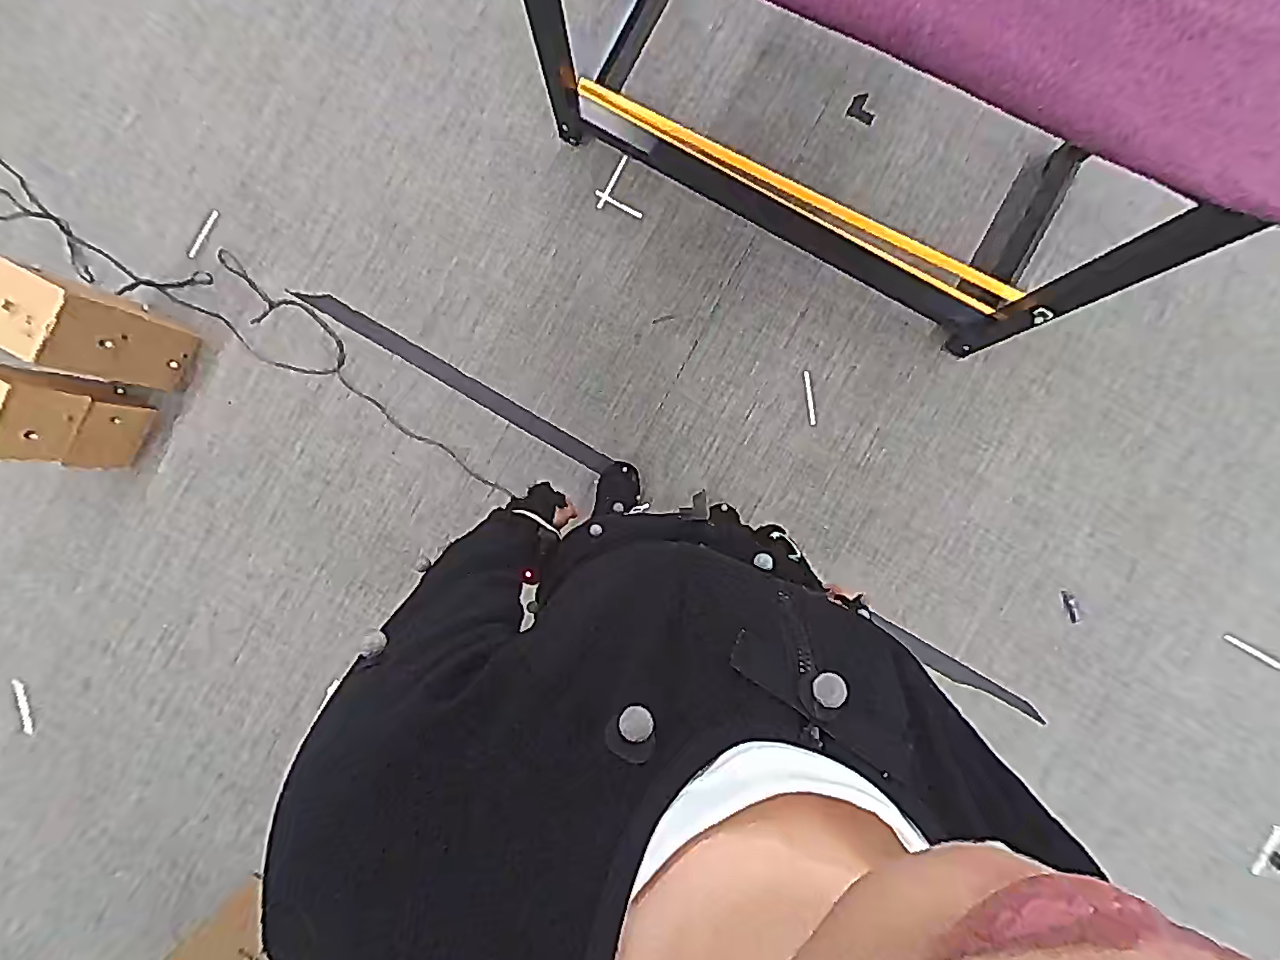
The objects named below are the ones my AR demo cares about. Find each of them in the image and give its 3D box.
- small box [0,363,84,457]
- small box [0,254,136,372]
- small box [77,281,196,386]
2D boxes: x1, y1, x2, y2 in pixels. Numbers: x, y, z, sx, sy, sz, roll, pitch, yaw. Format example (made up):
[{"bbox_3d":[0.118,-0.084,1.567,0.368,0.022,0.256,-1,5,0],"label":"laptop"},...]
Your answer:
[{"bbox_3d":[-1.374,-0.154,1.158,0.179,0.176,0.168,24,90,2],"label":"small box"},{"bbox_3d":[-1.259,-0.347,1.154,0.179,0.176,0.168,27,91,0],"label":"small box"},{"bbox_3d":[-1.259,-0.346,1.319,0.179,0.176,0.168,29,90,0],"label":"small box"}]
